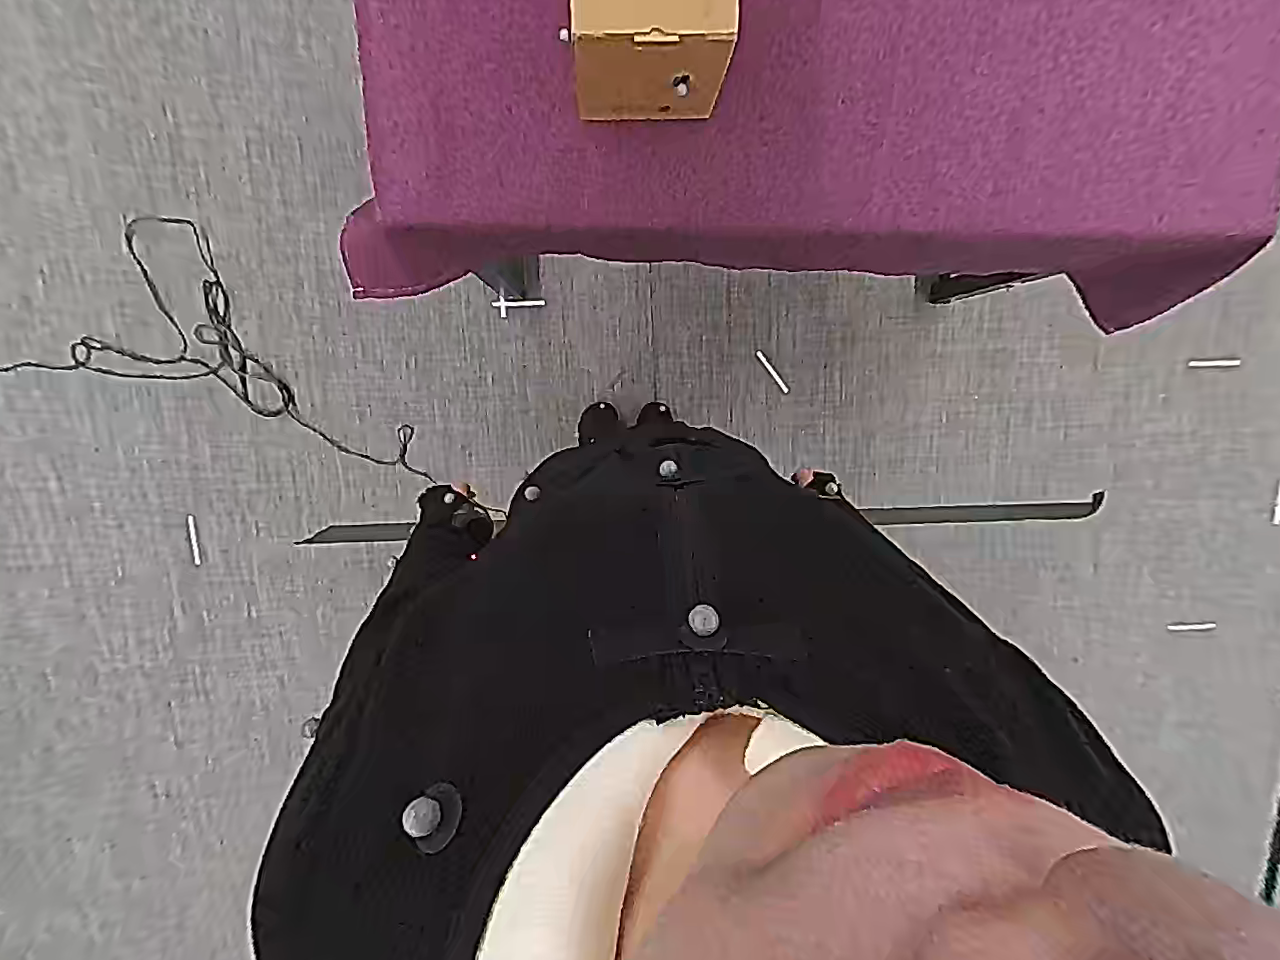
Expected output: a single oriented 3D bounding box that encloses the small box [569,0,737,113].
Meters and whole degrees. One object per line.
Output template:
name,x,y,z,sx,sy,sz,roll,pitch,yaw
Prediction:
small box,0.009,-0.531,0.589,0.168,0.176,0.179,-2,100,-4
